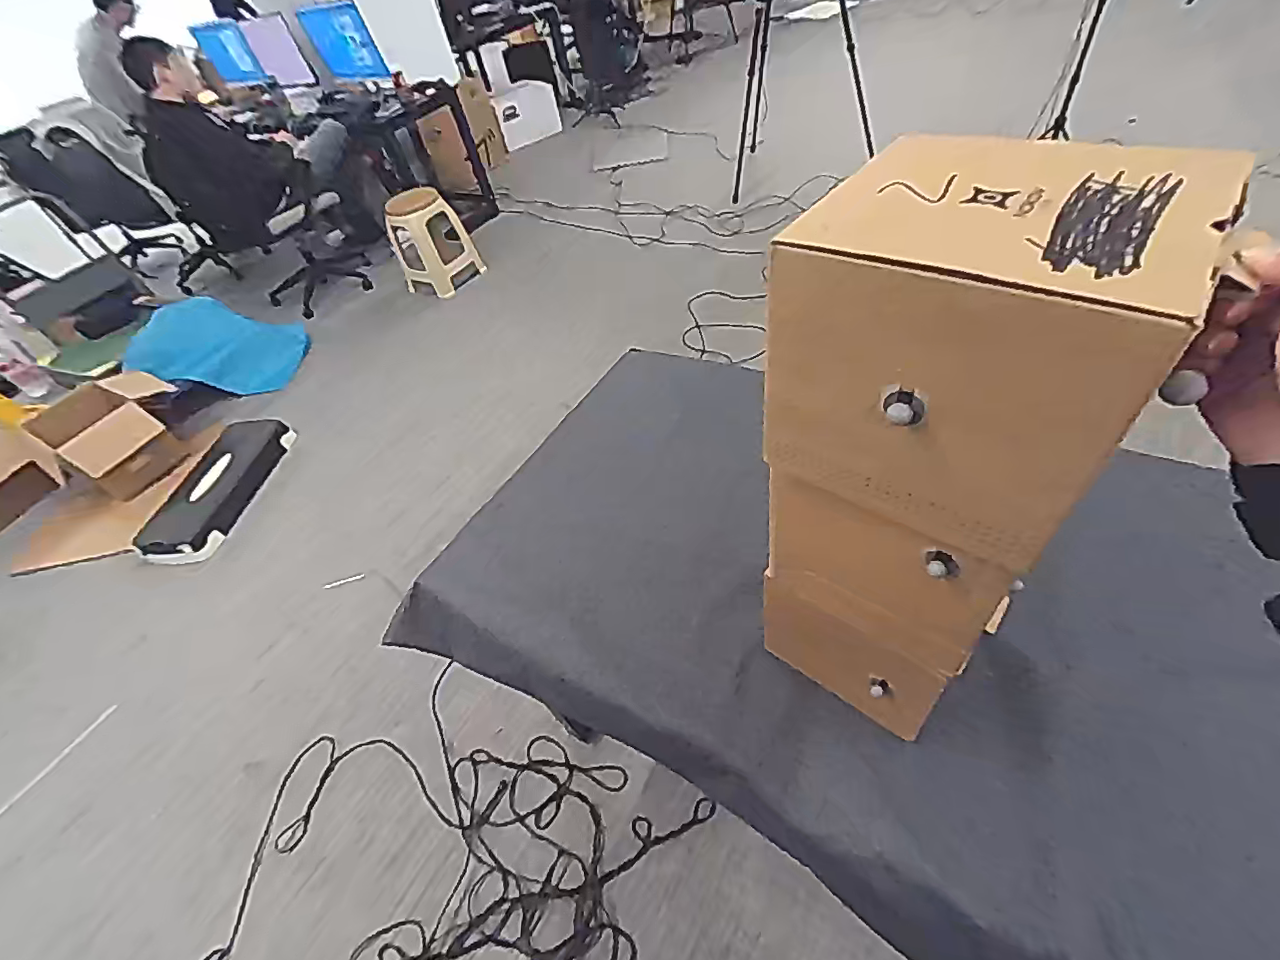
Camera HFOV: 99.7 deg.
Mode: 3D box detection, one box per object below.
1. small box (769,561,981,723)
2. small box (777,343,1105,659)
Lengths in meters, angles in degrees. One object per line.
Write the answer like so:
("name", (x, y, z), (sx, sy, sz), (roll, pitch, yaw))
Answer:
("small box", (0.255, 0.127, 0.572), (0.179, 0.176, 0.168), (27, 59, 33))
("small box", (0.230, 0.017, 0.455), (0.179, 0.176, 0.168), (28, 59, 31))
